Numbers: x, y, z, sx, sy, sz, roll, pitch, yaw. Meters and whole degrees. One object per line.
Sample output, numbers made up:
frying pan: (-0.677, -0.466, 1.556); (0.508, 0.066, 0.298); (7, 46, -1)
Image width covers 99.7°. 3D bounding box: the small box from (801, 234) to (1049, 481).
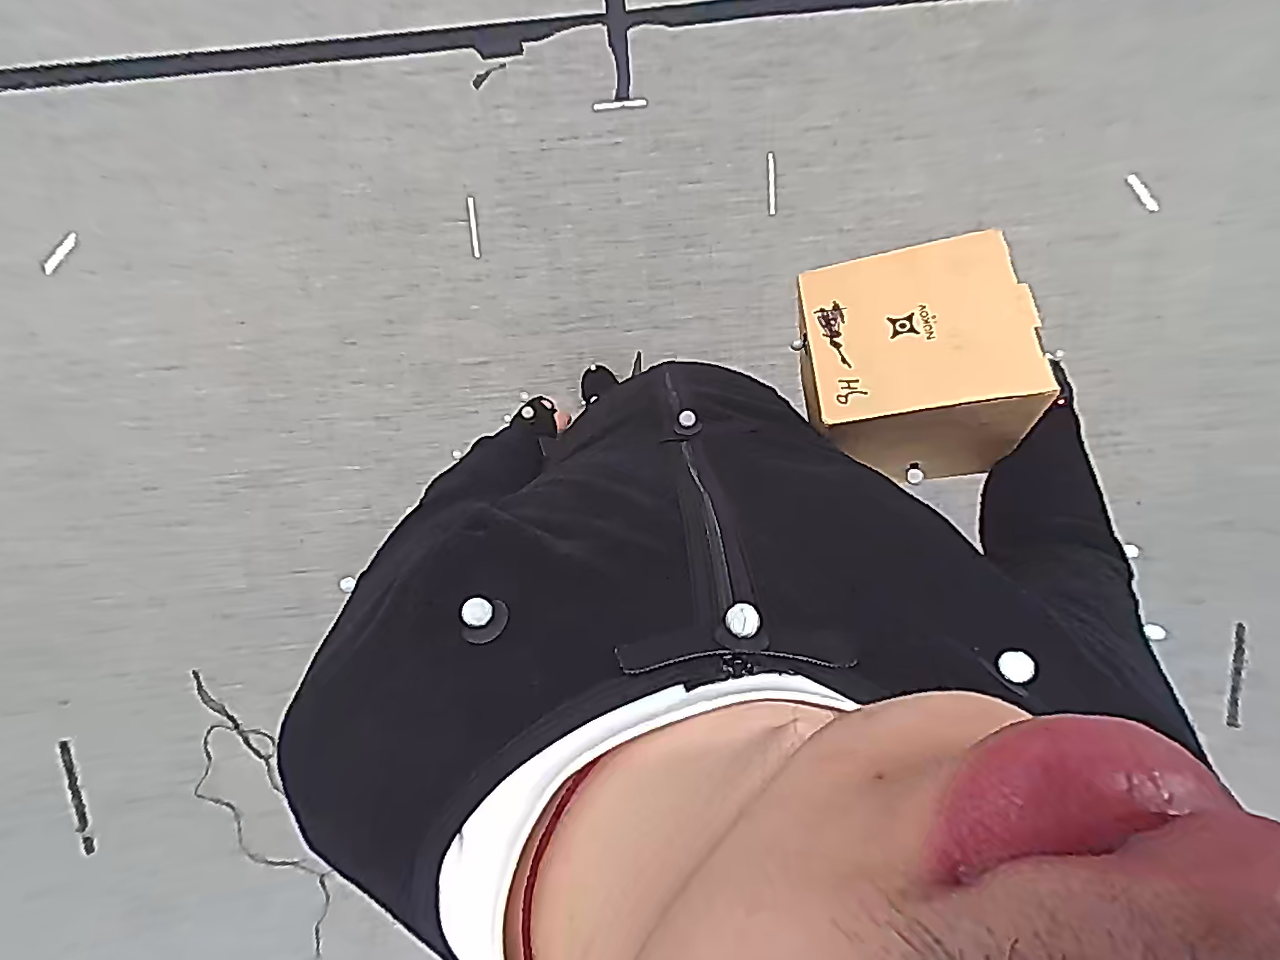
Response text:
small box: (0.263, -0.109, 0.549); (0.179, 0.176, 0.168); (-7, 67, 14)
